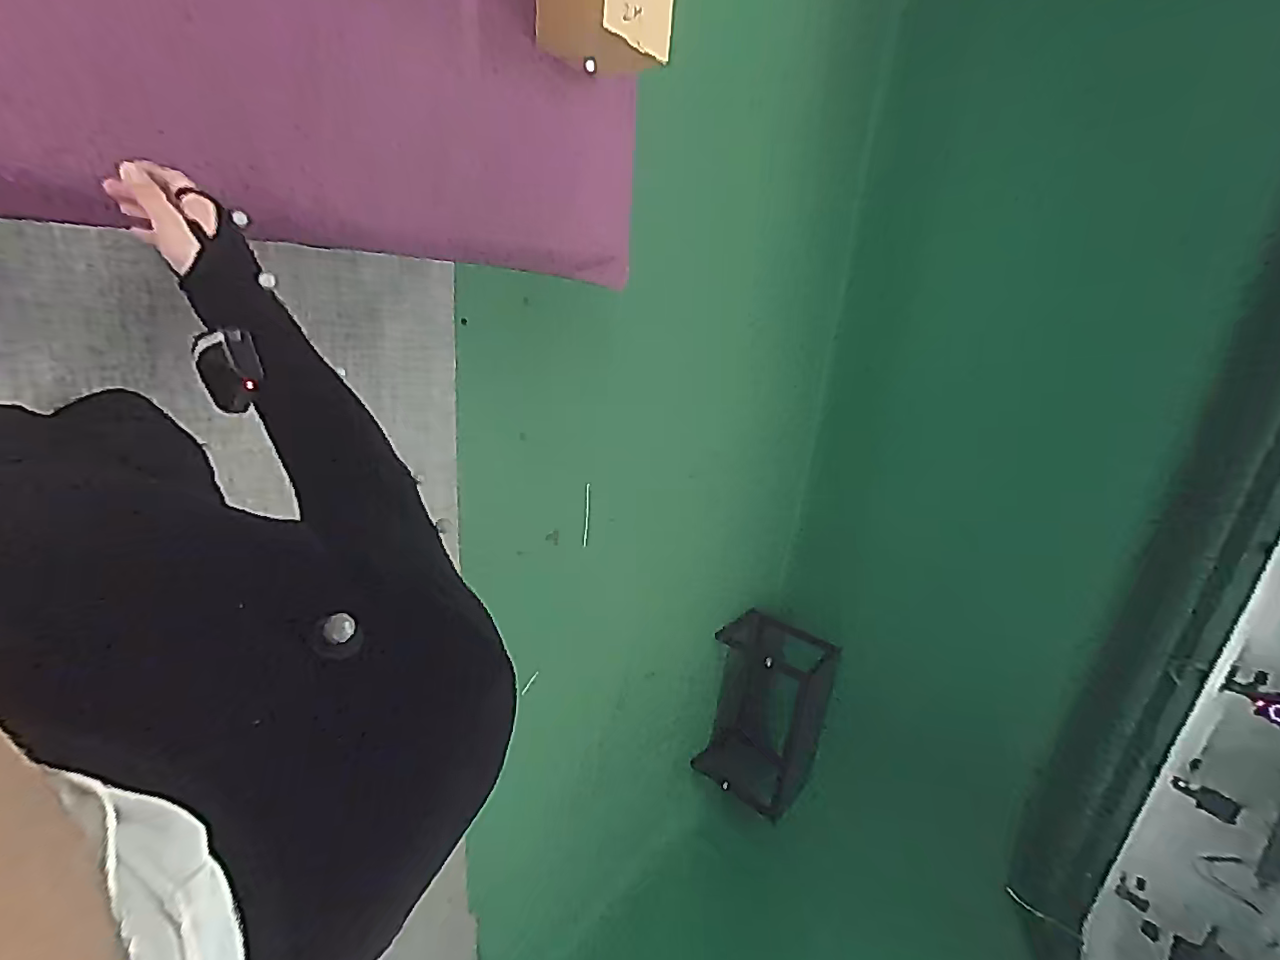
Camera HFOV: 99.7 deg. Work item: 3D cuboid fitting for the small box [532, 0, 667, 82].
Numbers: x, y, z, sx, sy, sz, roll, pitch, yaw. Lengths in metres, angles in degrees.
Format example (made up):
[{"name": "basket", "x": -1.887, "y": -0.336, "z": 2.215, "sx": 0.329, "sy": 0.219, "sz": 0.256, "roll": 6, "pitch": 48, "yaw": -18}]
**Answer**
[{"name": "small box", "x": -0.070, "y": -0.821, "z": 0.925, "sx": 0.168, "sy": 0.176, "sz": 0.179, "roll": -16, "pitch": 118, "yaw": -48}]
